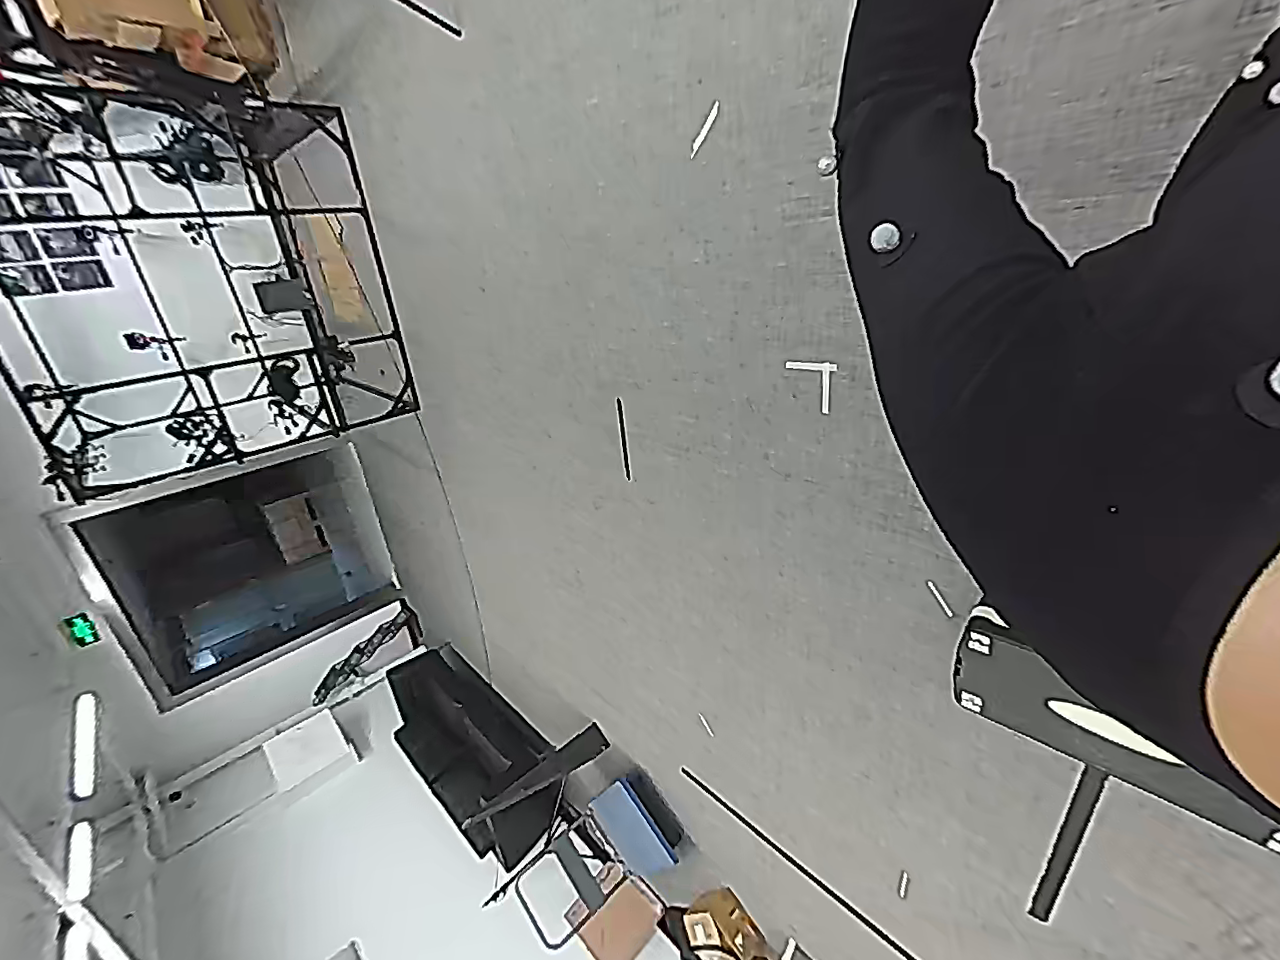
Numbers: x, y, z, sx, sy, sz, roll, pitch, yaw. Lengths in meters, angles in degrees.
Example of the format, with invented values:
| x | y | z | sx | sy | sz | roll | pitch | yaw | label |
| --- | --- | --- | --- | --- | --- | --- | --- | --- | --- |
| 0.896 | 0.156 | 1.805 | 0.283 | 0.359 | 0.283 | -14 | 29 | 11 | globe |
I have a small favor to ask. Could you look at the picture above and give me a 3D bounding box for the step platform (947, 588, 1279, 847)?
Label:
| x | y | z | sx | sy | sz | roll | pitch | yaw | label |
| --- | --- | --- | --- | --- | --- | --- | --- | --- | --- |
| 1.118 | 0.515 | 1.278 | 0.684 | 0.204 | 0.286 | 18 | 123 | 46 | step platform |
